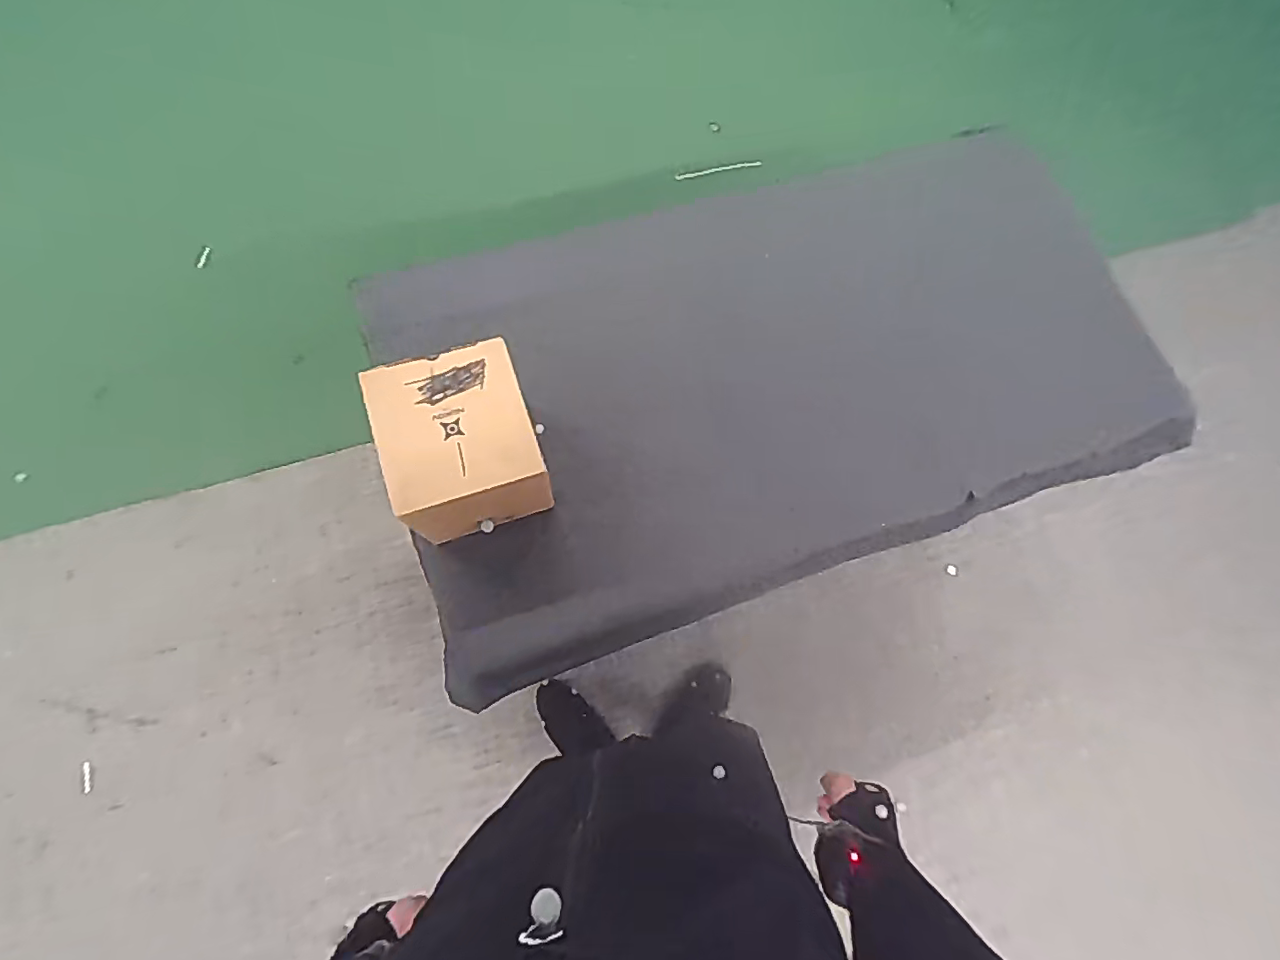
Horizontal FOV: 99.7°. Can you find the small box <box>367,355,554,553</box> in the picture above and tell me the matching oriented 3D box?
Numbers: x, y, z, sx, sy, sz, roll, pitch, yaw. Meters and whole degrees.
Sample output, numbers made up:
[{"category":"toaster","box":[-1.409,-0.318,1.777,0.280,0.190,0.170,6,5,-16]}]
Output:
[{"category":"small box","box":[-0.212,-0.024,0.676,0.168,0.176,0.179,-18,77,-11]}]
